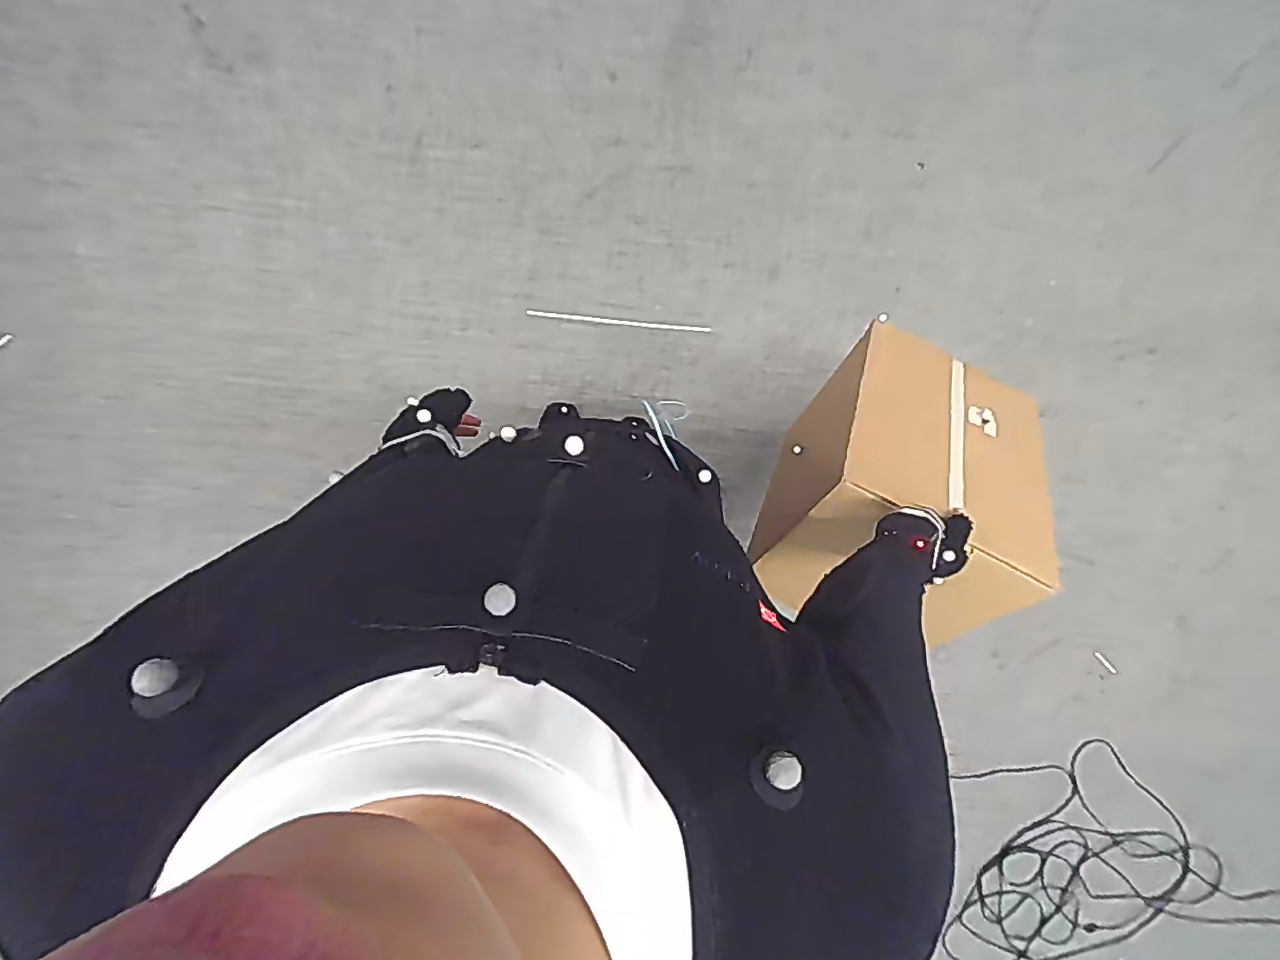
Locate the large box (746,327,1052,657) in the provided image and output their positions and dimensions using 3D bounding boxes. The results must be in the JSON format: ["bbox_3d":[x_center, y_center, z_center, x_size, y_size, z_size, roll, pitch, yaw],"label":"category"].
[{"bbox_3d":[0.422,0.022,0.932,0.320,0.408,0.320,29,141,0],"label":"large box"}]
